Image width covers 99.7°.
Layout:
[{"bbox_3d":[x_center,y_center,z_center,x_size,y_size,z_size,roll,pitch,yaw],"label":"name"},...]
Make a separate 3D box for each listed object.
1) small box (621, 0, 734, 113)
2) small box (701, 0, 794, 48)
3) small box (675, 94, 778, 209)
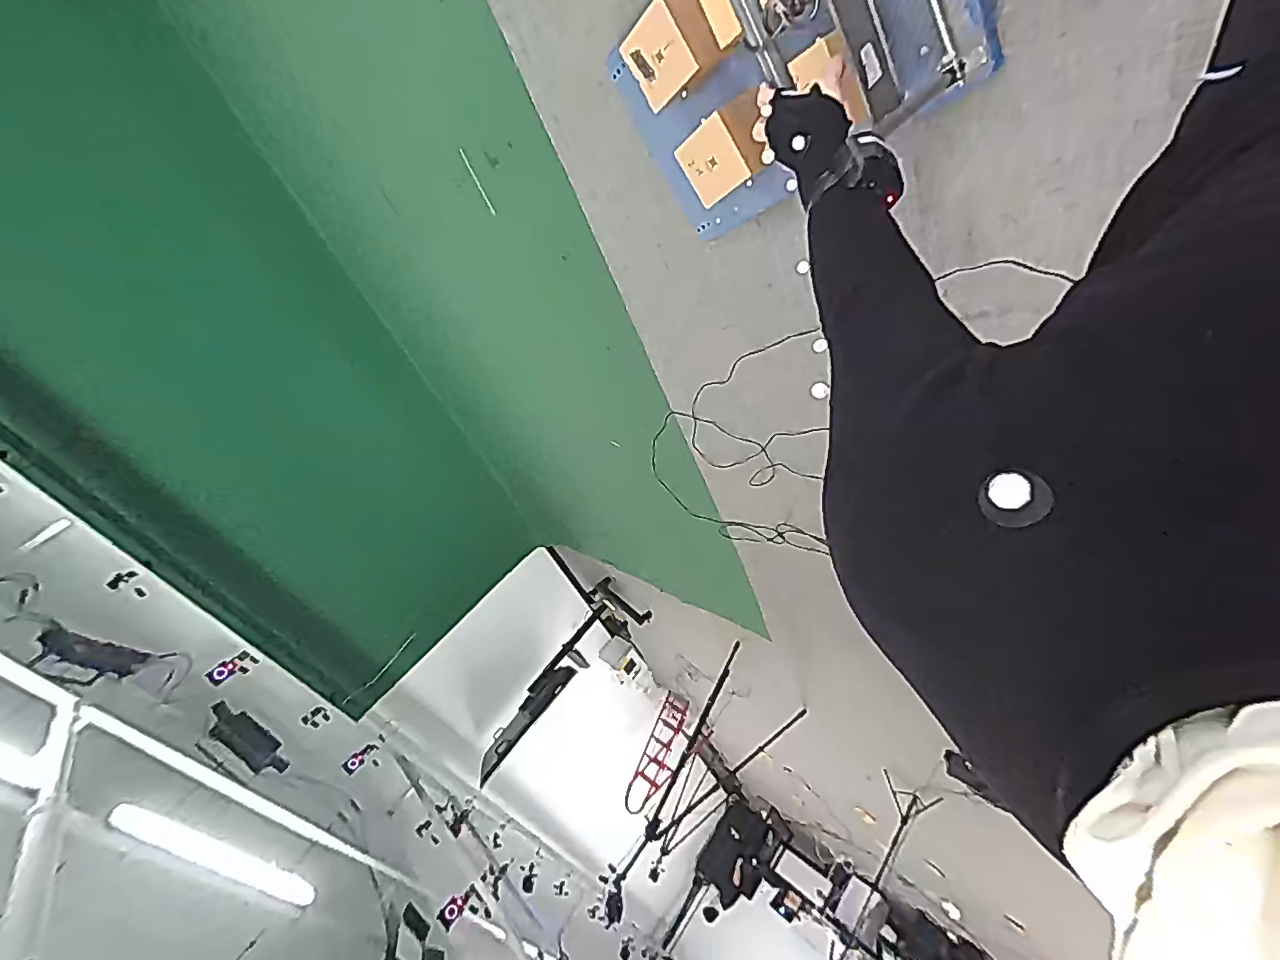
[{"bbox_3d":[0.093,-1.044,1.309,0.168,0.176,0.179,53,152,-19],"label":"small box"},{"bbox_3d":[0.236,-1.045,1.108,0.179,0.176,0.168,0,130,55],"label":"small box"},{"bbox_3d":[0.232,-0.849,1.398,0.168,0.176,0.179,54,152,-17],"label":"small box"}]
